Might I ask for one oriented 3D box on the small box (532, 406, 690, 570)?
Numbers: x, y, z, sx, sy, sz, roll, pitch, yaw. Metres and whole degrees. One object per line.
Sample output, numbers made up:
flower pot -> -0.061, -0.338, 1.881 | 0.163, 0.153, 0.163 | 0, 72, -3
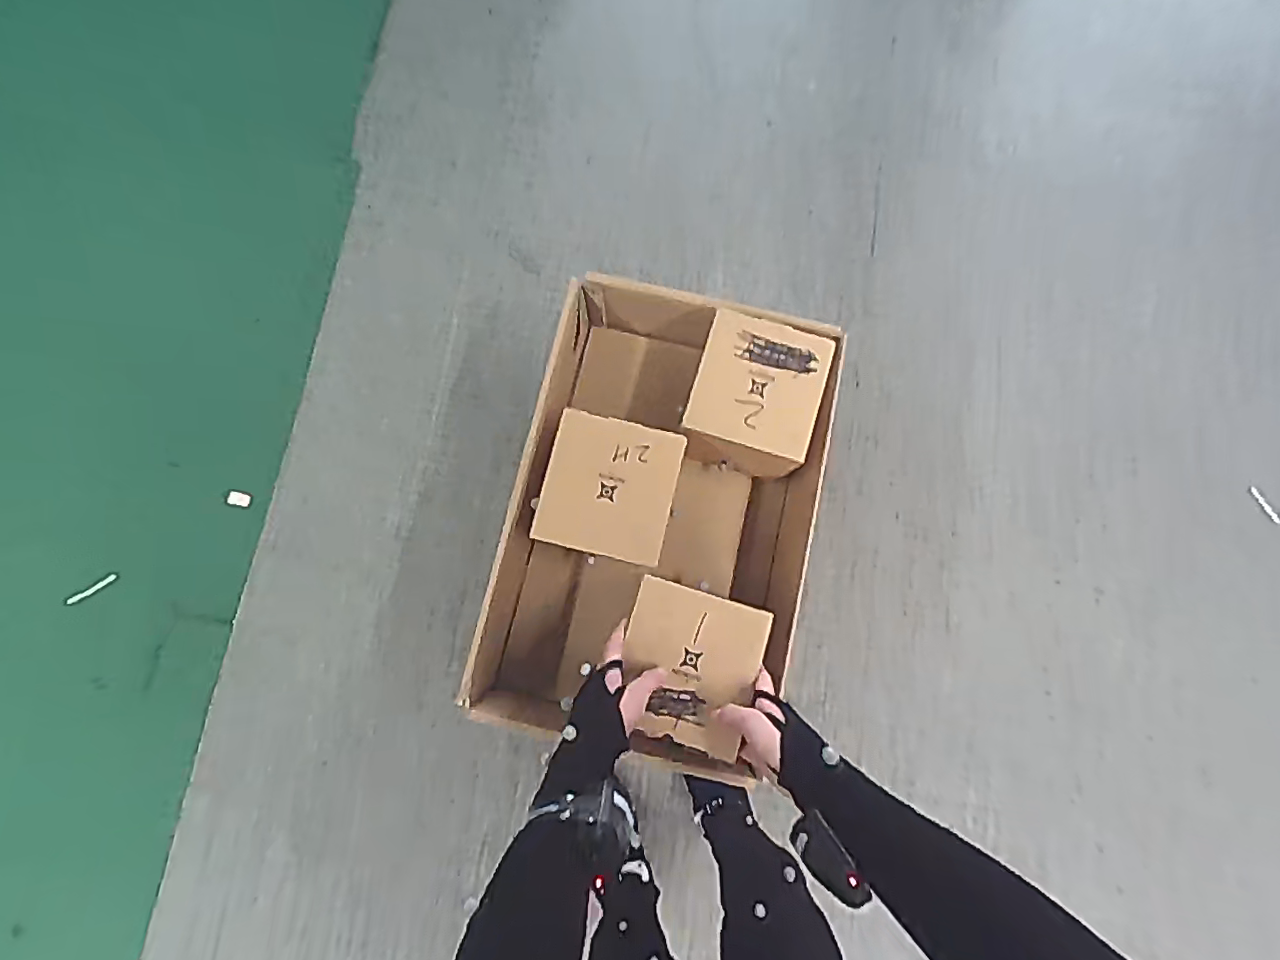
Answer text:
small box -> -0.035, 0.019, 0.755 | 0.168, 0.176, 0.179 | 15, 82, 1
